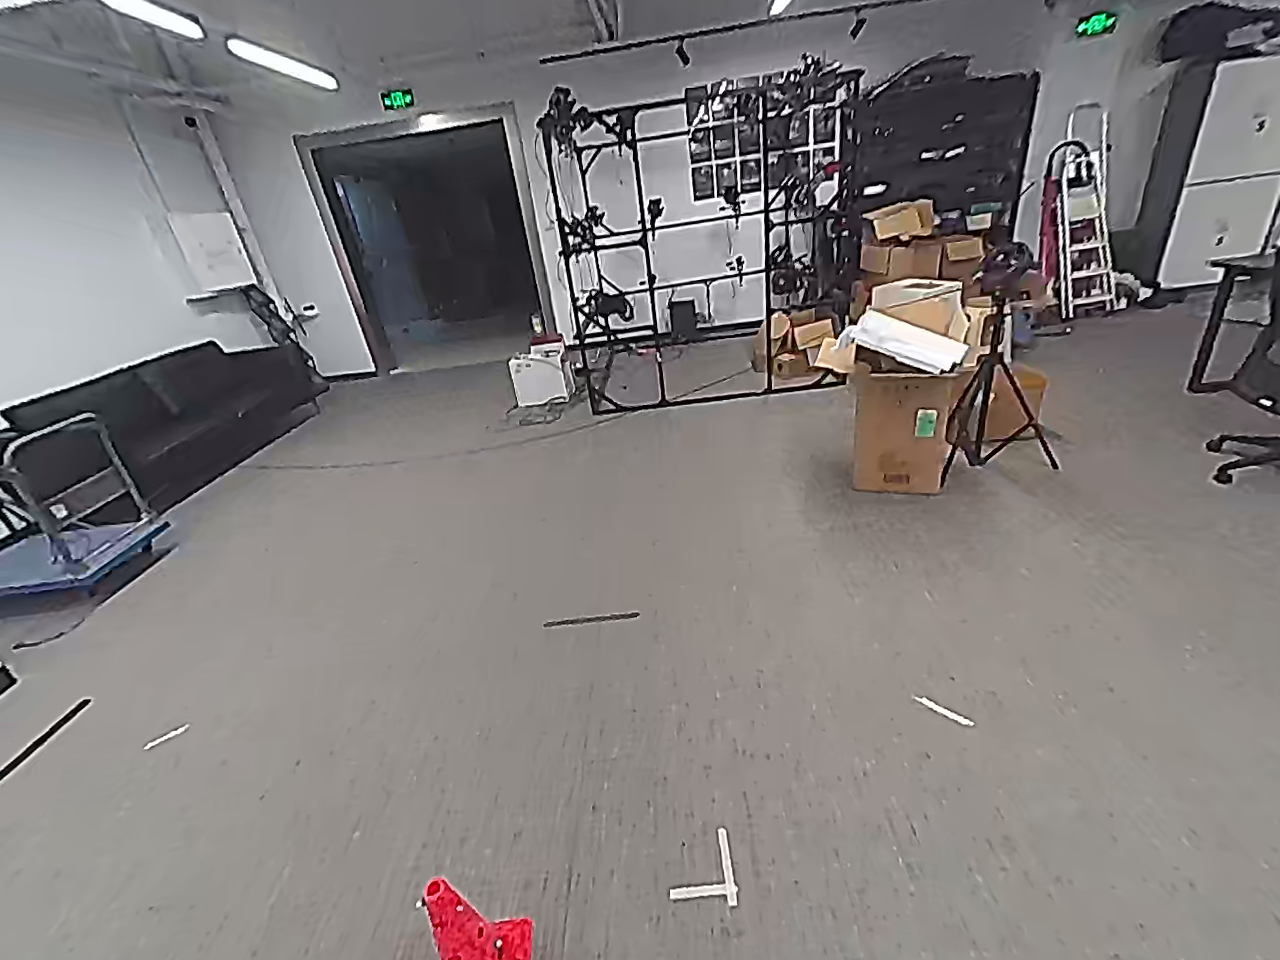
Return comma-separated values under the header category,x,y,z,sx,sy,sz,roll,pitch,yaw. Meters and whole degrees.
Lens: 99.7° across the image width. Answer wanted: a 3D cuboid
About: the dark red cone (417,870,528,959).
category,x,y,z,sx,sy,sz,roll,pitch,yaw
dark red cone,-0.363,0.897,1.070,0.202,0.394,0.201,-10,28,-2
